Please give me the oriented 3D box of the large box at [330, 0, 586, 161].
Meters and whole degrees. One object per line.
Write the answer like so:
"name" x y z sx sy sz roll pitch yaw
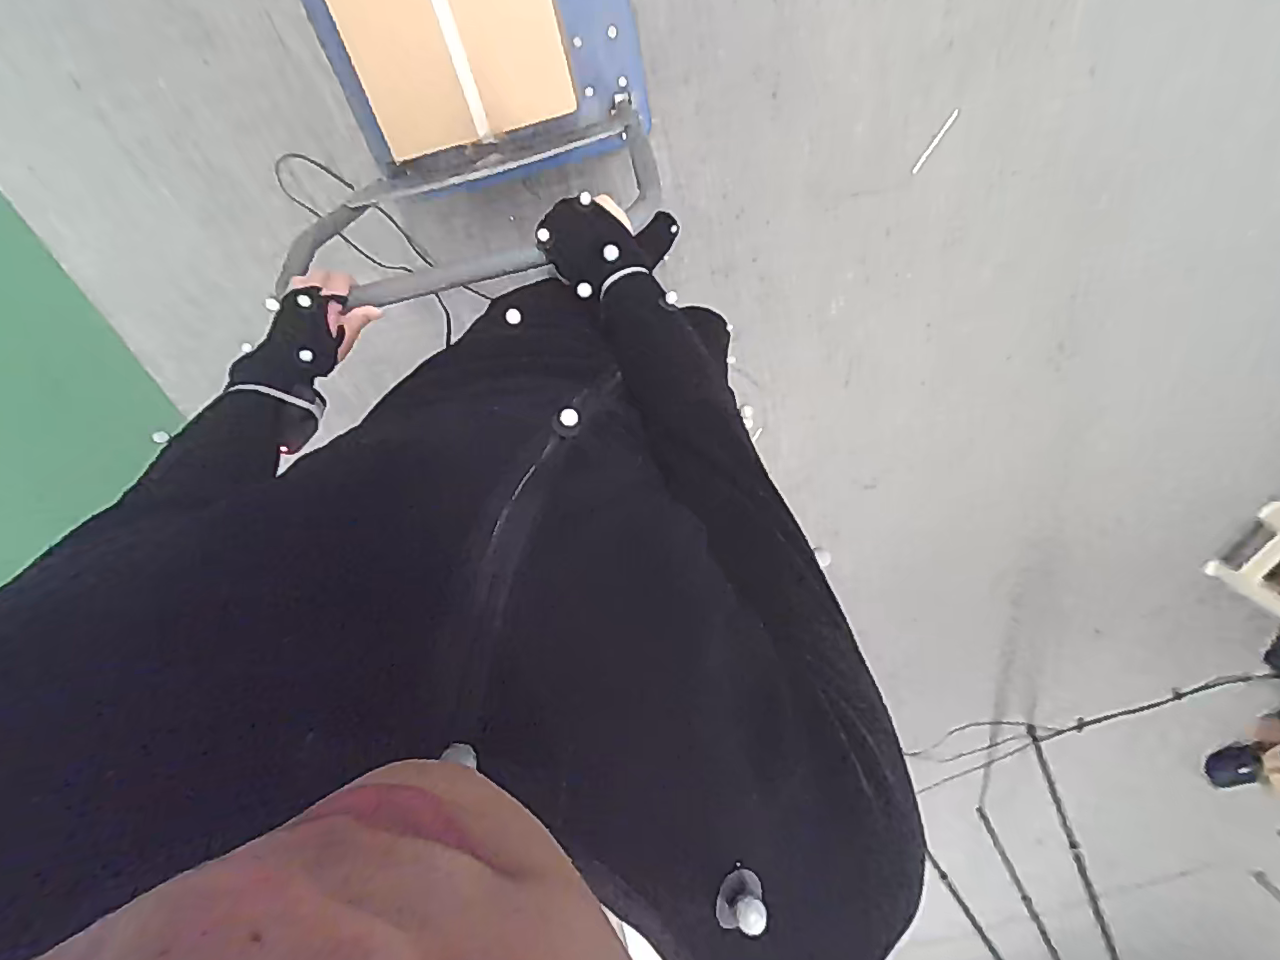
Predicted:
"large box" -0.296 -0.795 0.876 0.320 0.320 0.408 -13 125 5
